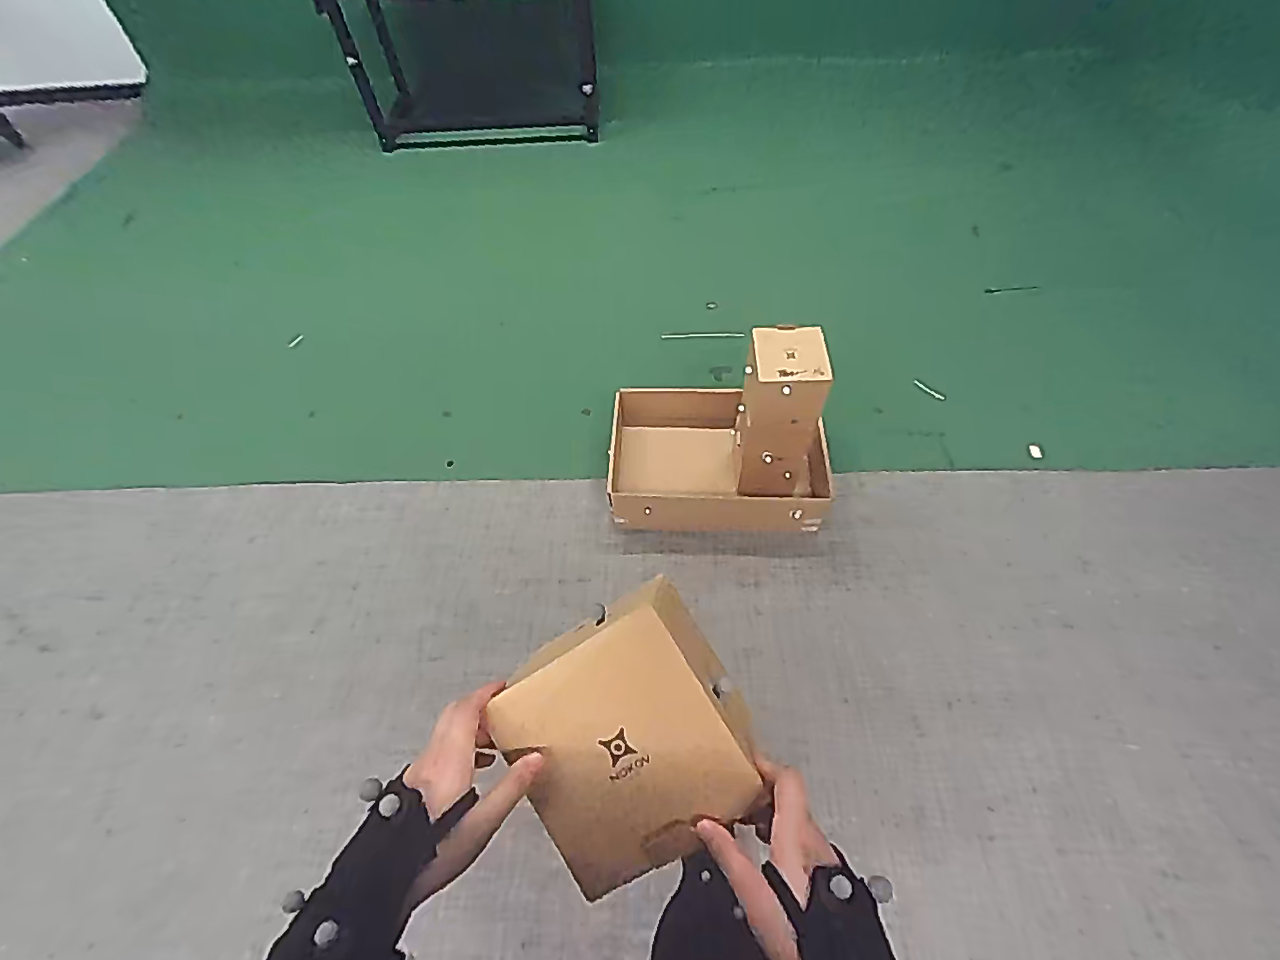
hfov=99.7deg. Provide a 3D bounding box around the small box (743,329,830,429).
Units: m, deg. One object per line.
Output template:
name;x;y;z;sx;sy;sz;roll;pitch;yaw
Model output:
small box;0.346;-0.244;1.312;0.168;0.176;0.179;-1;56;3

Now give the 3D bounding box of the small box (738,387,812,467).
small box;0.354;-0.155;1.450;0.168;0.176;0.179;2;58;5
